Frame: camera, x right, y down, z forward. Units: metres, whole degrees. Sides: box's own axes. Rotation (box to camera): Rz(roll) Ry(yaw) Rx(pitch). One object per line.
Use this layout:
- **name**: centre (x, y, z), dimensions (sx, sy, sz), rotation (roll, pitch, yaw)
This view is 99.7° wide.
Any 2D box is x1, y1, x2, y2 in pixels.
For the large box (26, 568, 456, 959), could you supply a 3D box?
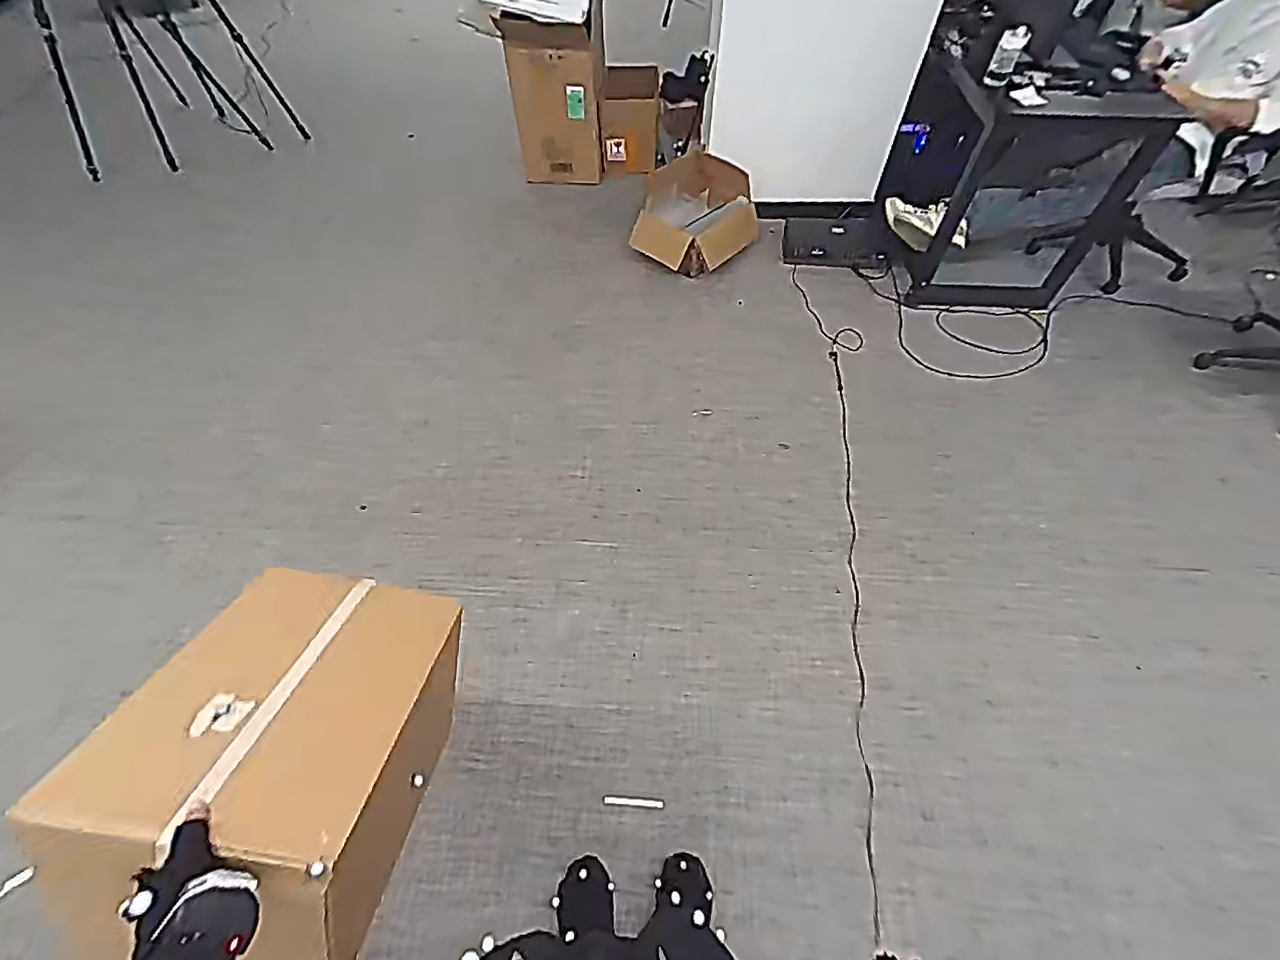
- **large box**: centre (-0.492, 0.396, 0.787), dimensions (0.320, 0.320, 0.408), rotation (12, 29, -5)
